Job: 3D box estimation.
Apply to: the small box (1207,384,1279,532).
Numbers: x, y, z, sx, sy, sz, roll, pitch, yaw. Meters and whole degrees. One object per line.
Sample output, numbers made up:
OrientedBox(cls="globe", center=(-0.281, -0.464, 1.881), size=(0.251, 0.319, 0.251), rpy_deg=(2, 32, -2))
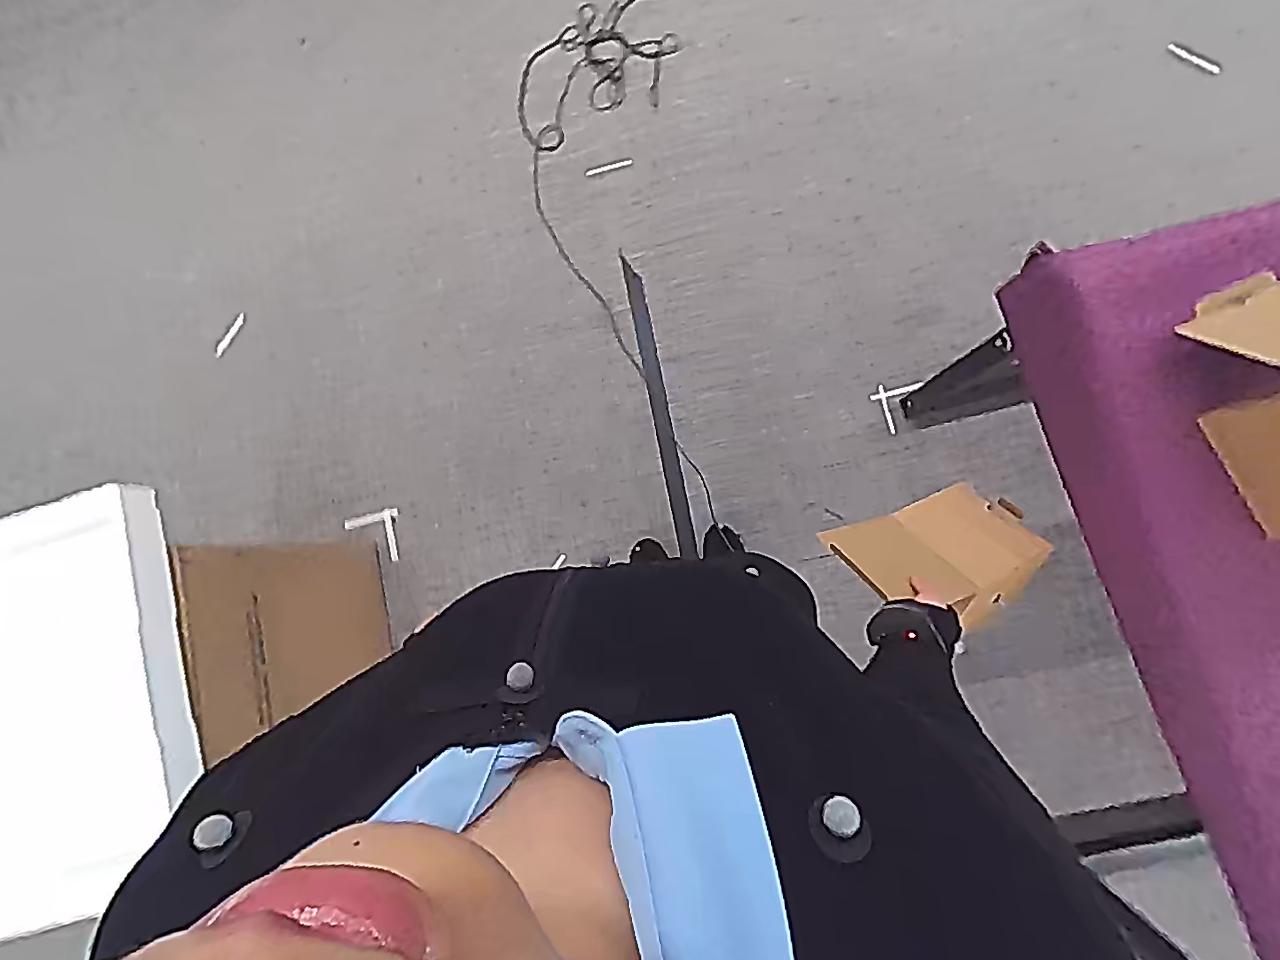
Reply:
OrientedBox(cls="small box", center=(0.817, -0.046, 0.603), size=(0.168, 0.176, 0.179), rpy_deg=(-24, 82, 5))
